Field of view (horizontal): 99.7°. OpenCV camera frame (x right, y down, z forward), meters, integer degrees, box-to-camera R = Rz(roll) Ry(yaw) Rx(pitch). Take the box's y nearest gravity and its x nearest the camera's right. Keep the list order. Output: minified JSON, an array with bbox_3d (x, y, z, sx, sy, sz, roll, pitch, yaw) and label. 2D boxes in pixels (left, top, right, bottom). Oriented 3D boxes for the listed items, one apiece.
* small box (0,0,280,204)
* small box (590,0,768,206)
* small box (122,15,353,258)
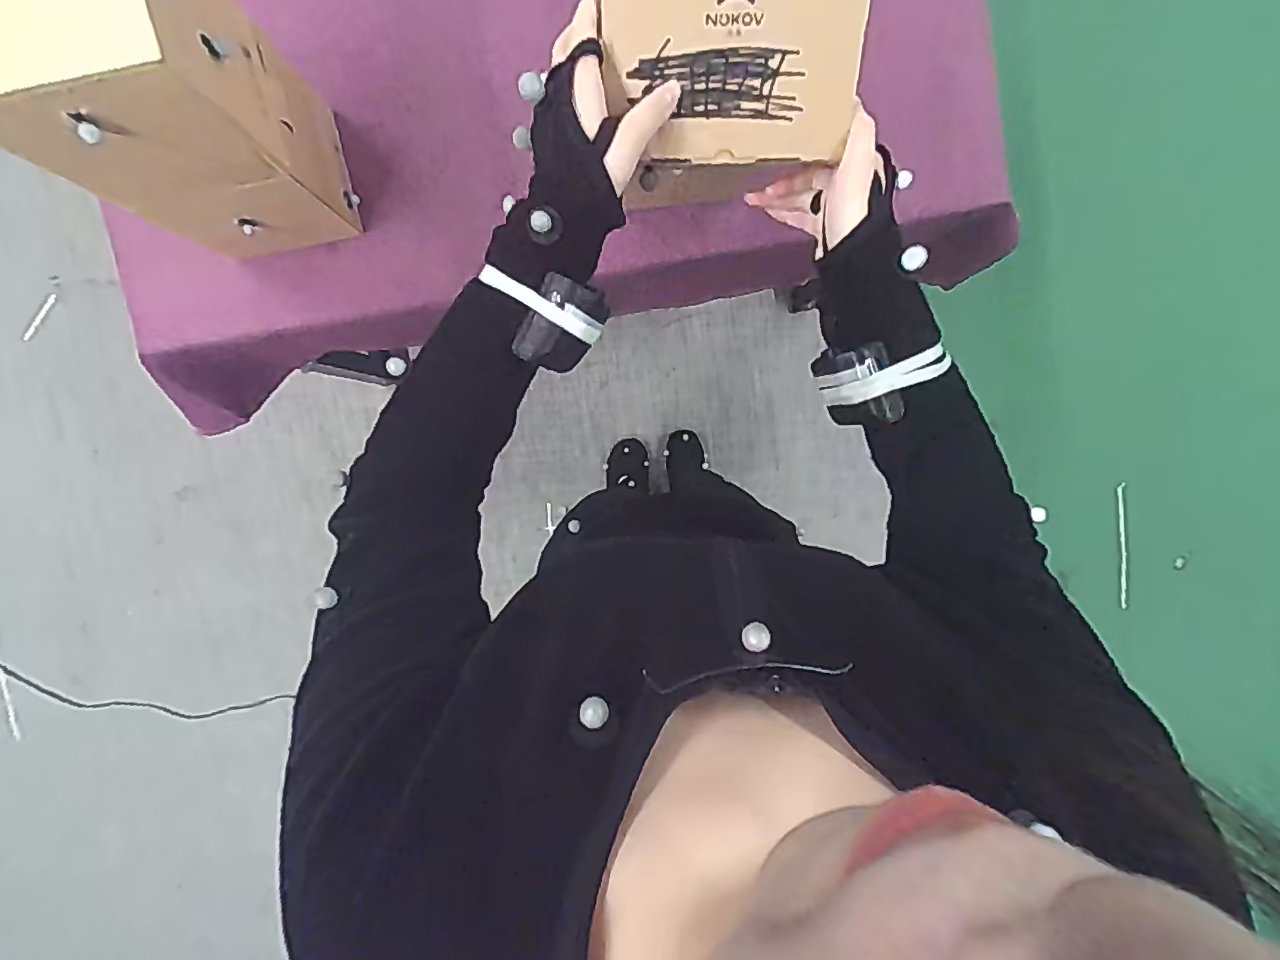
[{"bbox_3d":[-0.450,-0.367,0.464,0.179,0.176,0.168,-14,95,-1],"label":"small box"},{"bbox_3d":[0.040,-0.446,0.643,0.179,0.176,0.168,-6,96,-2],"label":"small box"},{"bbox_3d":[-0.461,-0.379,0.625,0.179,0.176,0.168,-13,95,0],"label":"small box"}]
